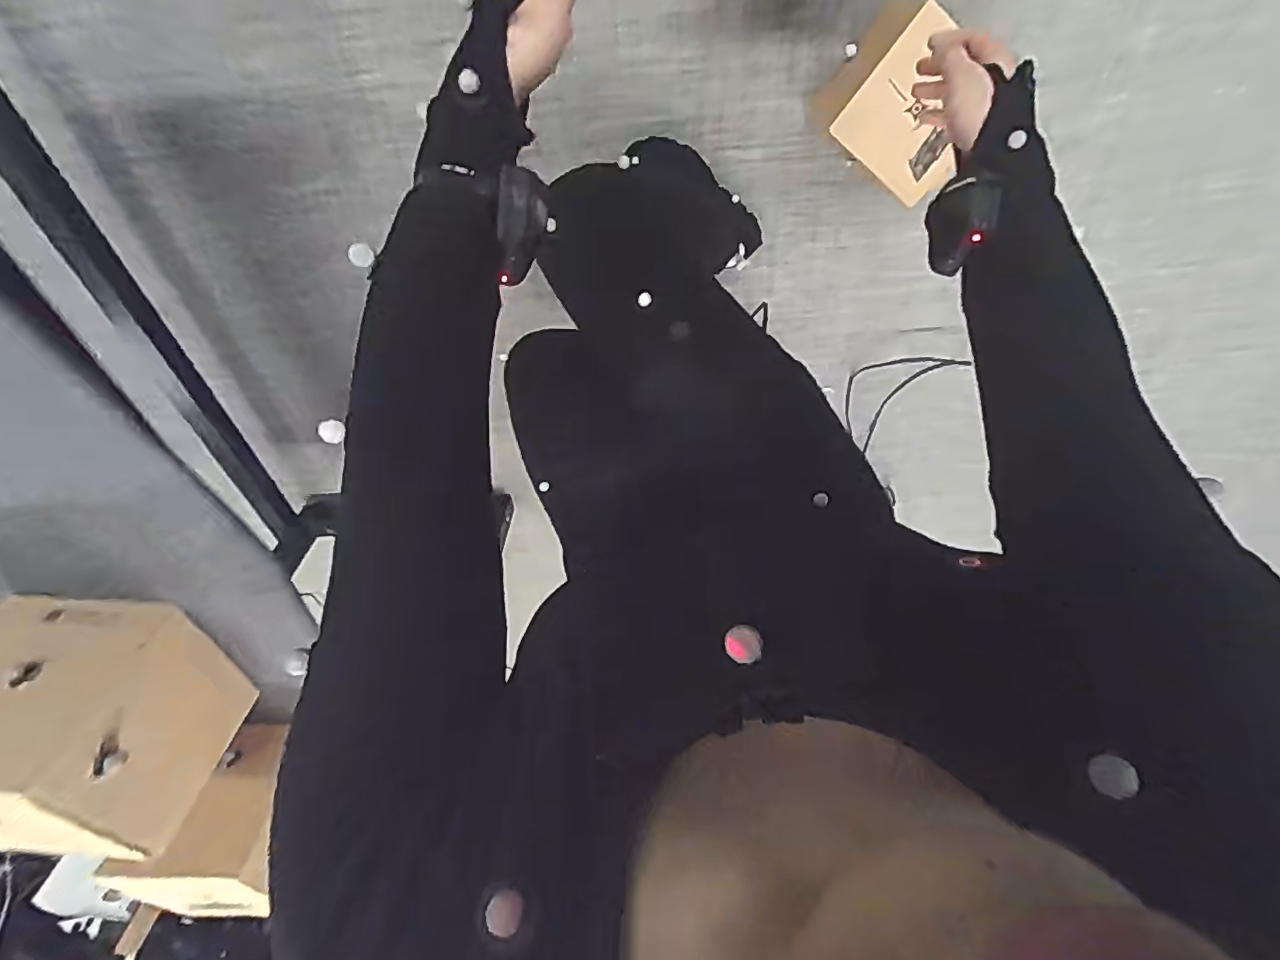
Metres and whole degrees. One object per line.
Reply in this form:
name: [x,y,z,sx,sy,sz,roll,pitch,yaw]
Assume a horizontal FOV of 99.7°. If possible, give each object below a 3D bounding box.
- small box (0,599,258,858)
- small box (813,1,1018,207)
small box: [-0.516,0.229,0.507,0.168,0.176,0.179,3,132,3]
small box: [0.376,-0.534,0.768,0.179,0.176,0.168,28,127,-20]
